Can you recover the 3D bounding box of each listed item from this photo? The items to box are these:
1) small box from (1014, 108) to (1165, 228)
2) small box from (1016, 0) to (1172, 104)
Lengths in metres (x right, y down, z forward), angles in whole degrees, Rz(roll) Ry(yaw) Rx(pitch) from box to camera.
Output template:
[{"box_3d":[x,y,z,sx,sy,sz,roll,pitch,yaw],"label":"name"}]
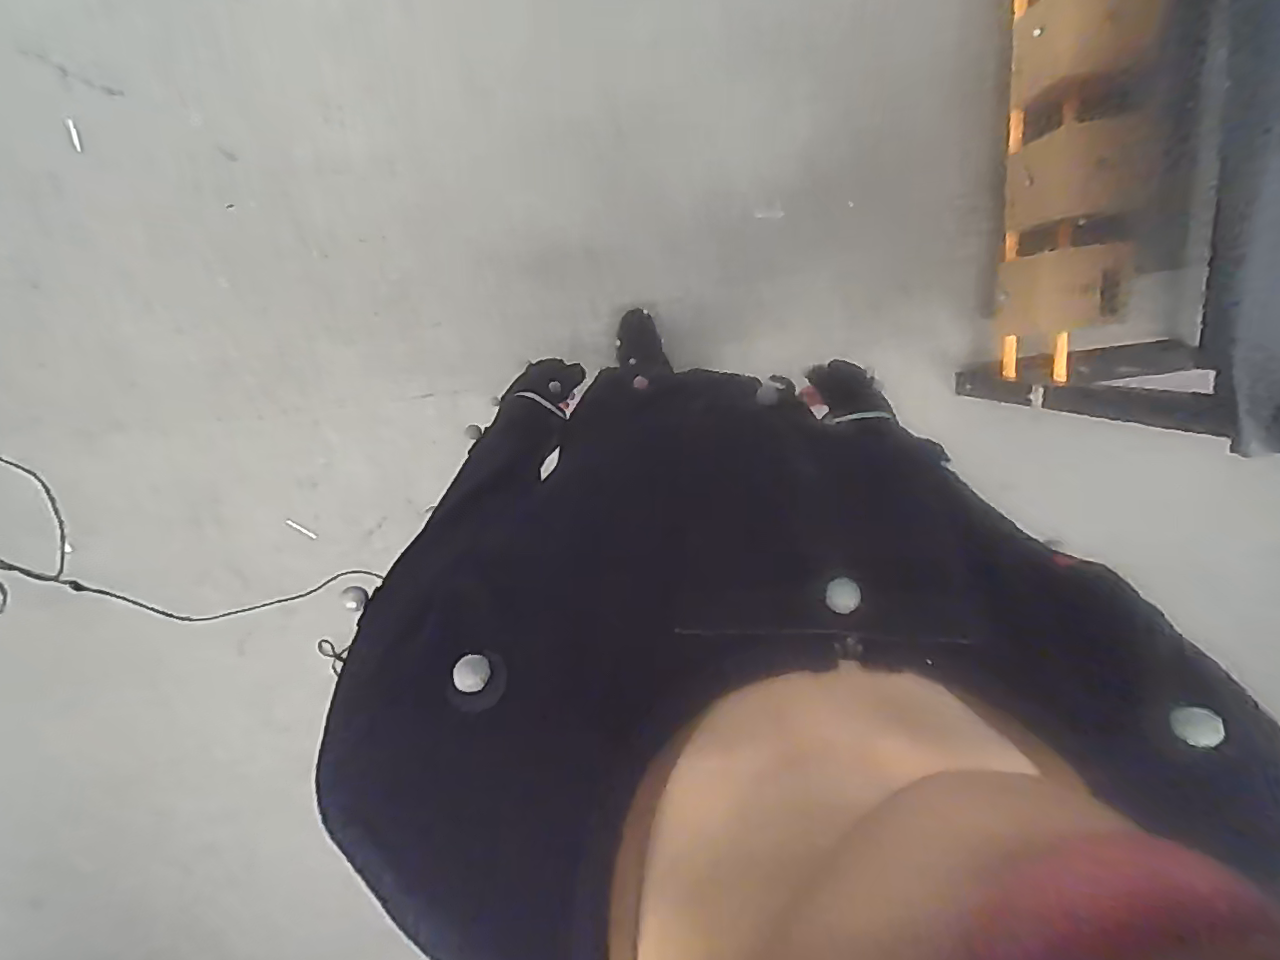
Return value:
[{"box_3d":[0.911,-0.631,1.115,0.179,0.176,0.168,-6,105,4],"label":"small box"},{"box_3d":[0.875,-0.868,1.057,0.179,0.176,0.168,-5,105,4],"label":"small box"}]
